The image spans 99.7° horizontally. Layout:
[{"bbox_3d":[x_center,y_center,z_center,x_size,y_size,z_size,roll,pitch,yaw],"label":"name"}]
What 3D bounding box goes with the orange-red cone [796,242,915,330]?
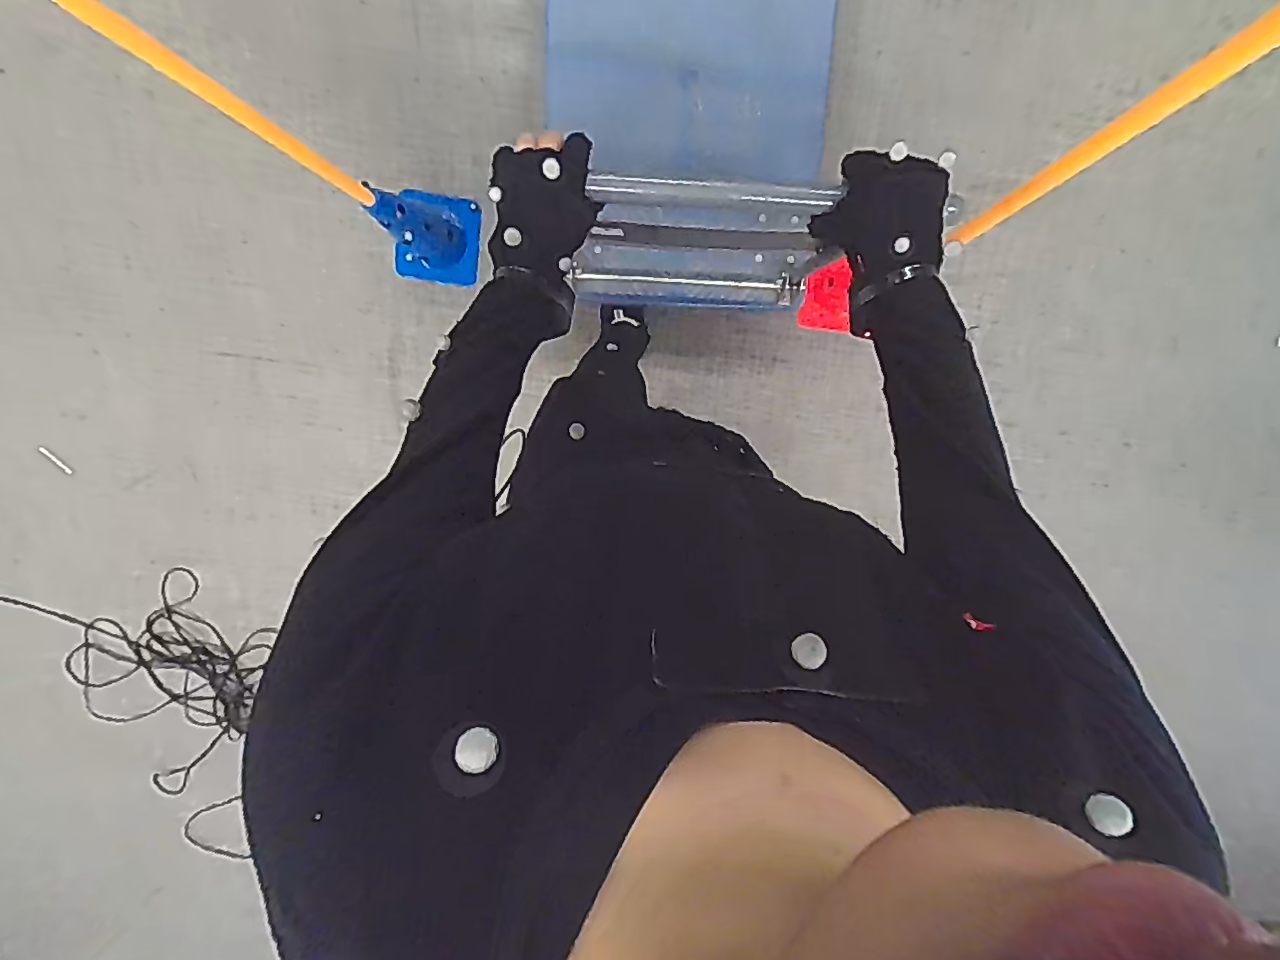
[{"bbox_3d":[0.506,-0.452,1.204,0.199,0.360,0.198,8,103,-1],"label":"orange-red cone"}]
